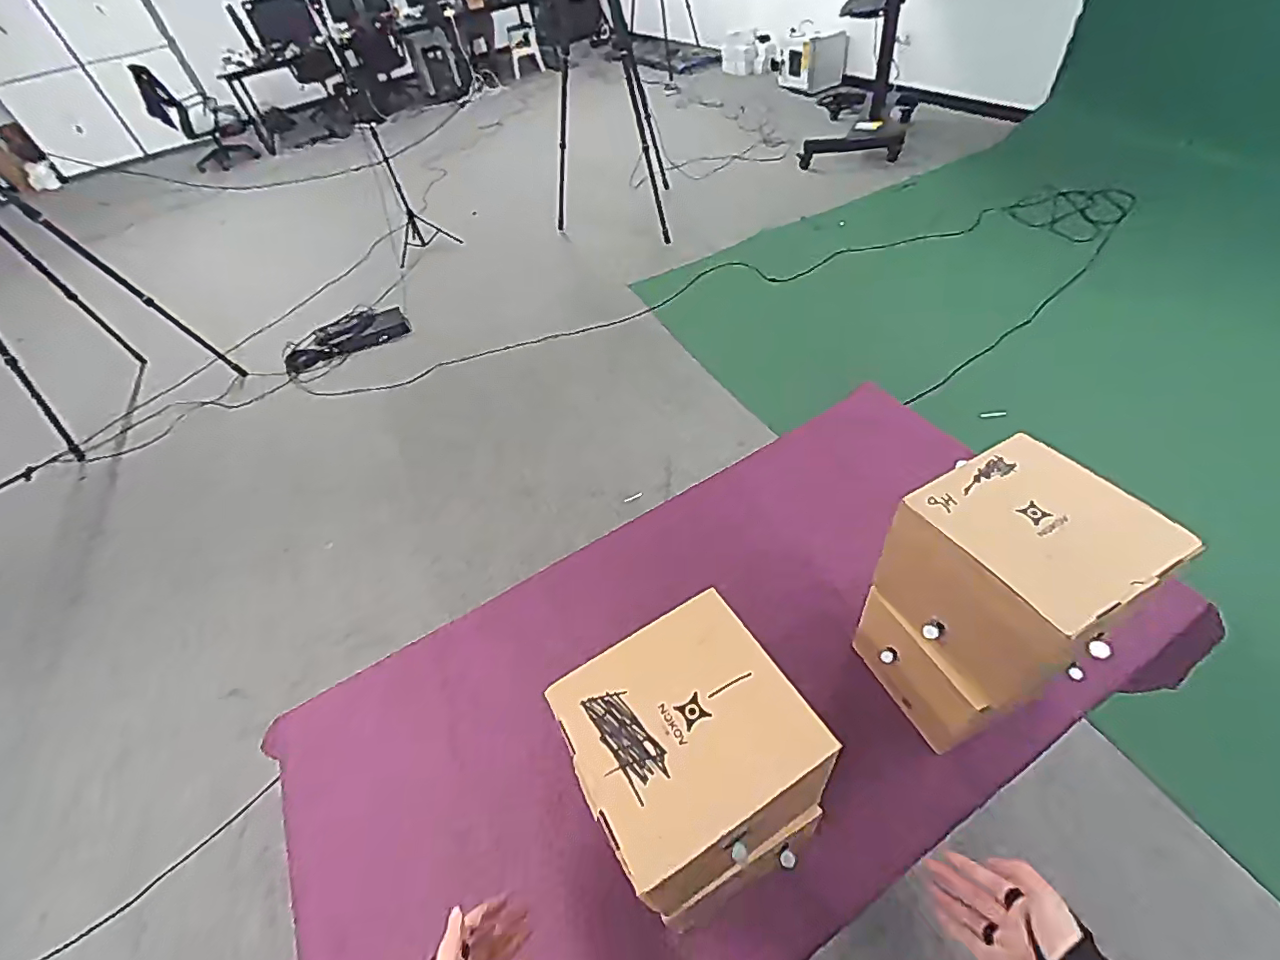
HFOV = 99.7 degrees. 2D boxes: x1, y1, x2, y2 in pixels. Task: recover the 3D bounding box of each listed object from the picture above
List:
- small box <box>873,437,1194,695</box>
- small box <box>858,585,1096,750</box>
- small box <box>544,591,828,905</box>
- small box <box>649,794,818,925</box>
[{"bbox_3d":[0.372,0.094,0.553,0.168,0.176,0.179,-25,49,-12],"label":"small box"},{"bbox_3d":[0.394,0.204,0.674,0.179,0.176,0.168,-23,48,-10],"label":"small box"},{"bbox_3d":[0.041,0.241,0.486,0.179,0.176,0.168,-28,49,-14],"label":"small box"},{"bbox_3d":[0.069,0.354,0.603,0.179,0.176,0.168,-26,48,-11],"label":"small box"}]
